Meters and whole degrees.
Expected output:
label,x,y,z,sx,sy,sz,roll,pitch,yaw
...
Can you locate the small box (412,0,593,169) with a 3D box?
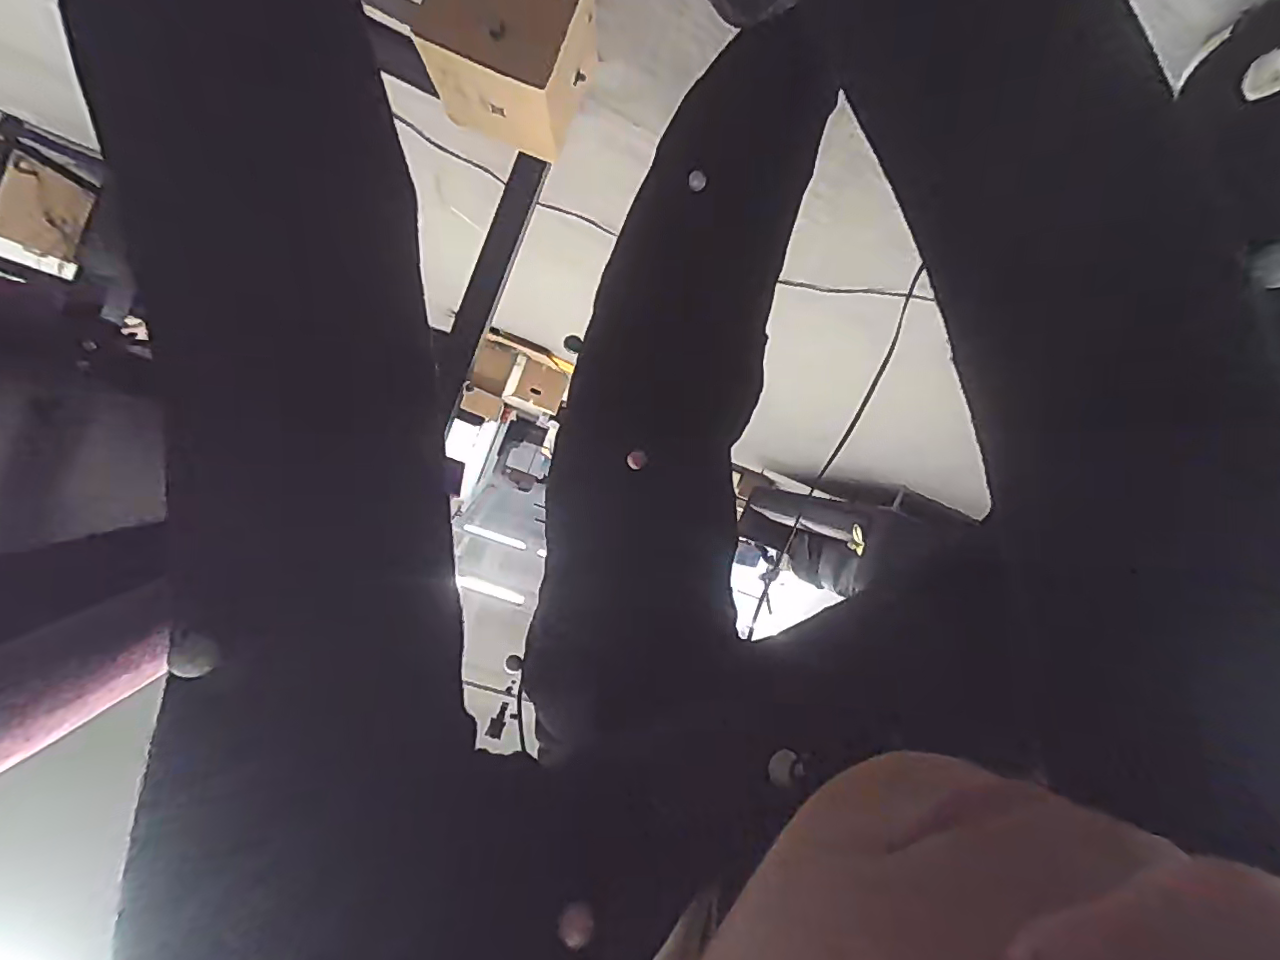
label,x,y,z,sx,sy,sz,roll,pitch,yaw
small box,-0.166,-0.566,0.721,0.179,0.176,0.168,21,179,-3
